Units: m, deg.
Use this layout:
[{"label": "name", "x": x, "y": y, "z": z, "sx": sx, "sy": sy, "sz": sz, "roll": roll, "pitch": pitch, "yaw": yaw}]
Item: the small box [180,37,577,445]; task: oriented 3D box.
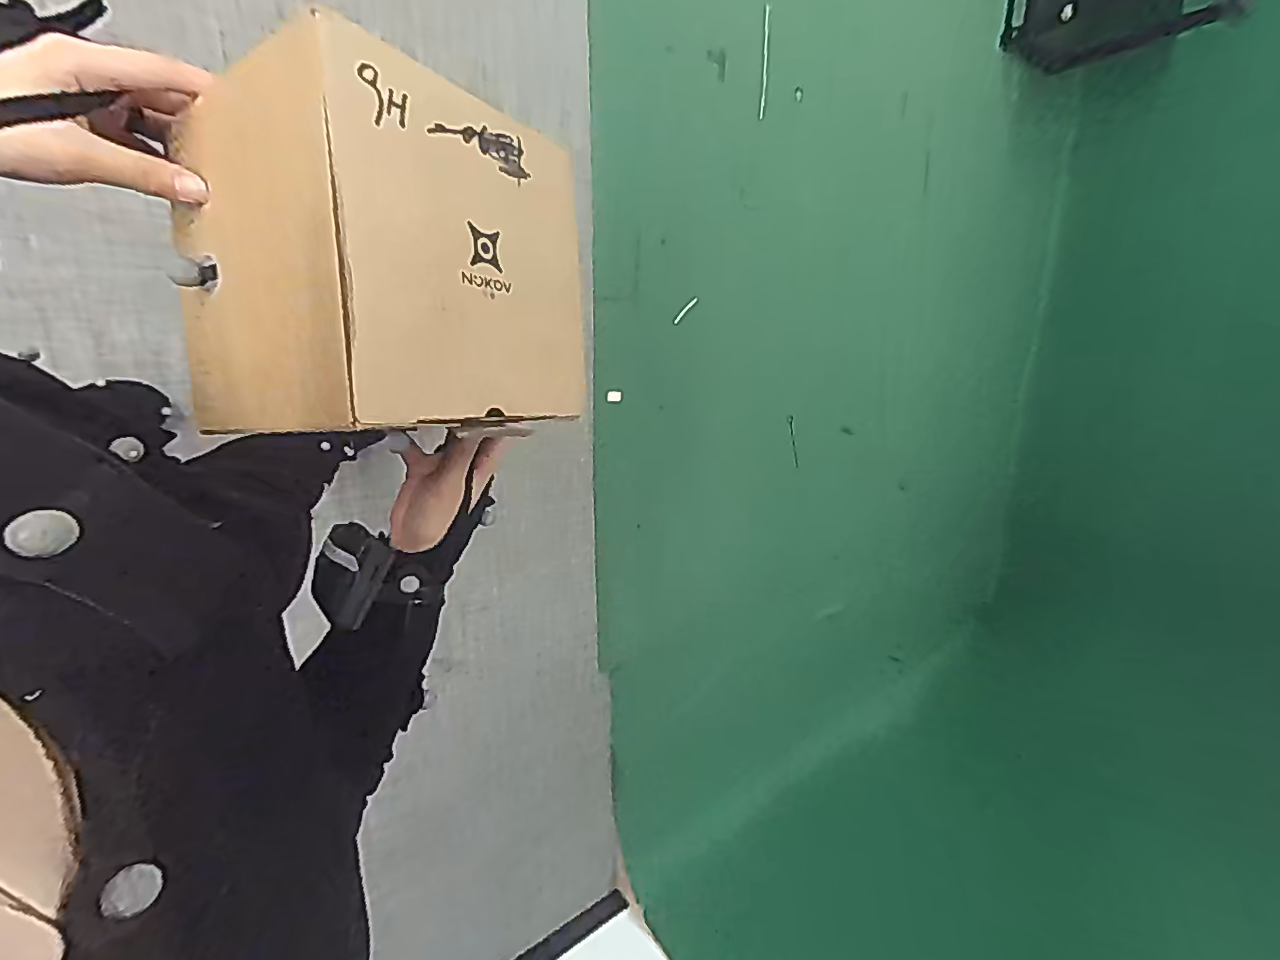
[{"label": "small box", "x": -0.158, "y": -0.114, "z": 0.347, "sx": 0.168, "sy": 0.176, "sz": 0.179, "roll": -9, "pitch": 100, "yaw": -58}]
